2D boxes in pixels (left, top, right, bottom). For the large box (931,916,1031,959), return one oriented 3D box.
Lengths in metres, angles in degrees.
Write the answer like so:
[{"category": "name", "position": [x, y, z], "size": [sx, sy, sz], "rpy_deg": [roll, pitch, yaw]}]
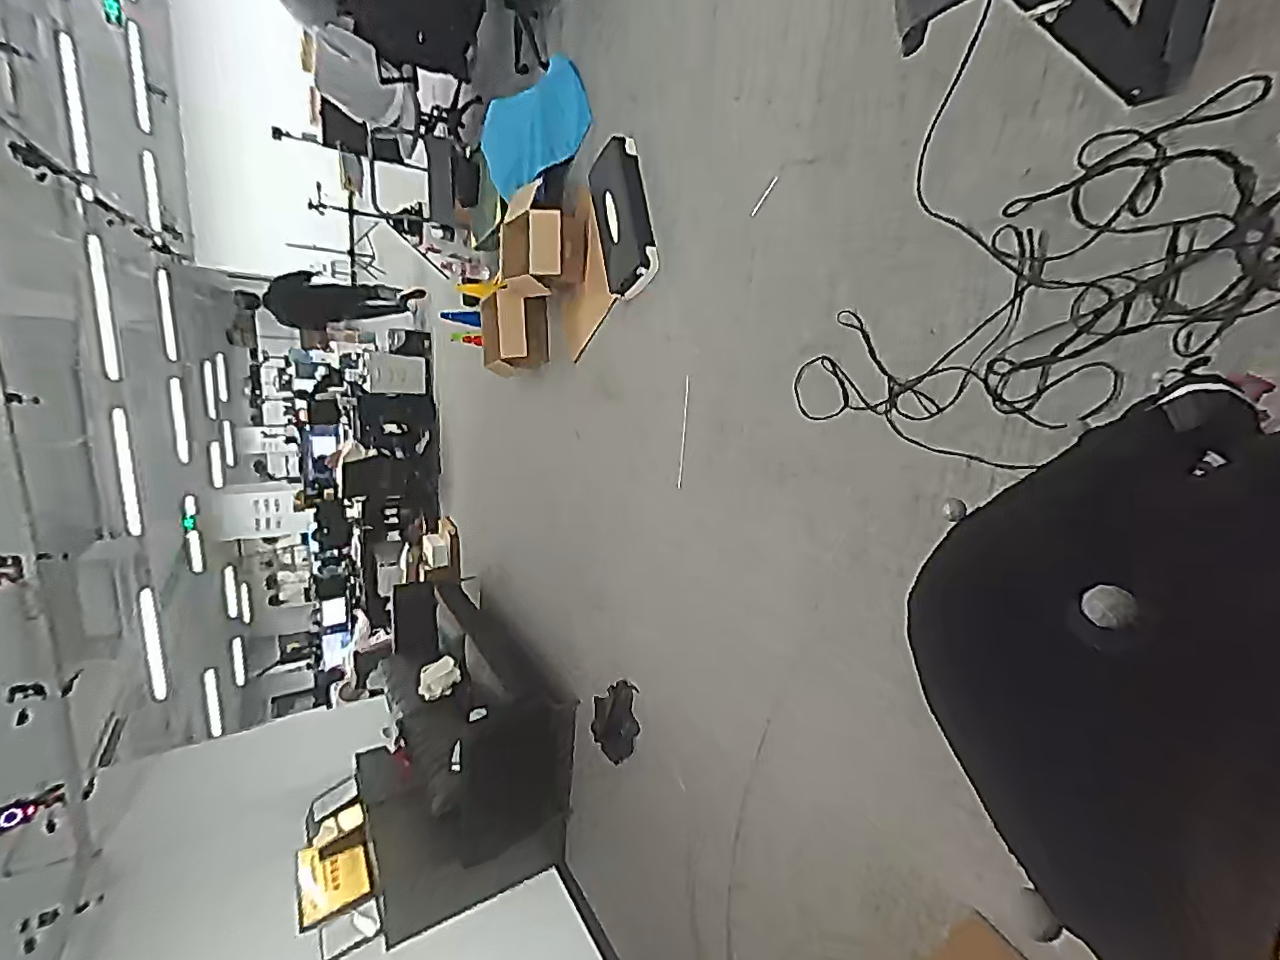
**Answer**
[{"category": "large box", "position": [0.827, 1.314, 1.185], "size": [0.408, 0.320, 0.320], "rpy_deg": [34, 121, 52]}]
